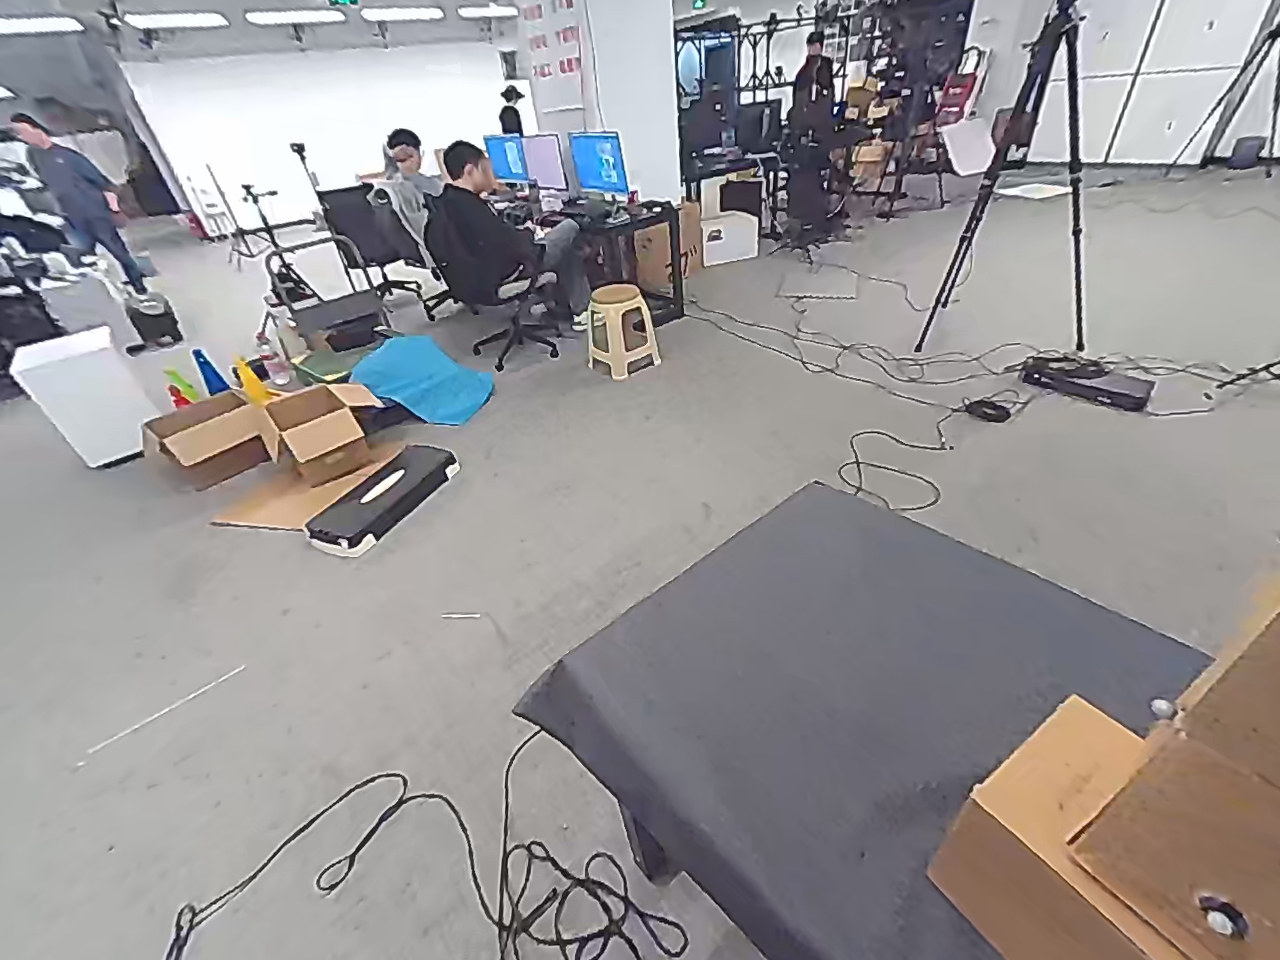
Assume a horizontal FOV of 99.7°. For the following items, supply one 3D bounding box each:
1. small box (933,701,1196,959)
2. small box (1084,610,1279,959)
[{"bbox_3d":[0.389,0.337,0.457,0.168,0.176,0.179,-23,38,-24],"label":"small box"},{"bbox_3d":[0.431,0.218,0.337,0.179,0.176,0.168,-23,40,-26],"label":"small box"}]
